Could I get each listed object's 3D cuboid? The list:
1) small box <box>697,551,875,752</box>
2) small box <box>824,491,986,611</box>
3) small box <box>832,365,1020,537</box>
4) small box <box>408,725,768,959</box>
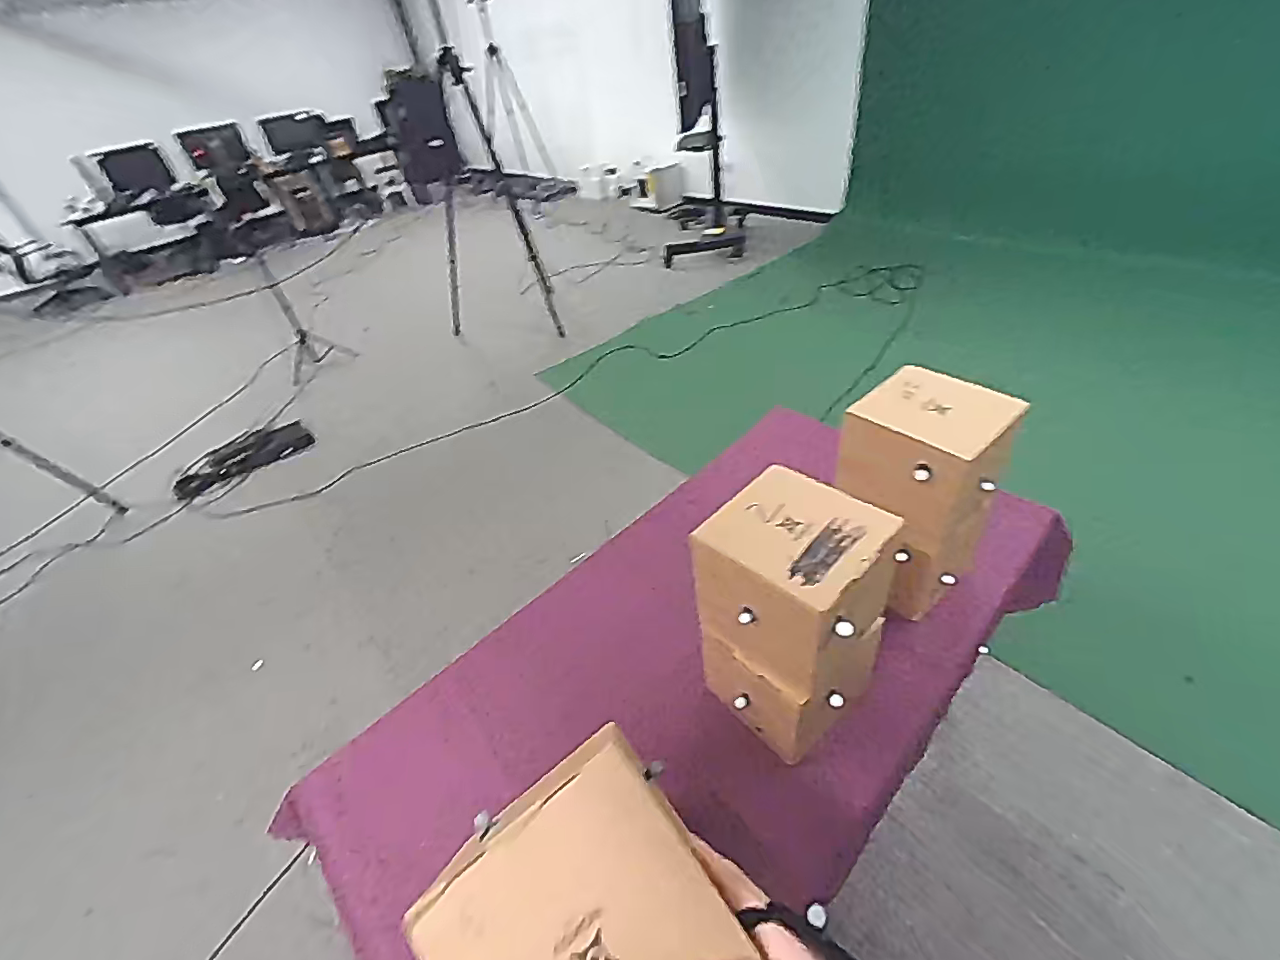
[{"bbox_3d":[0.204,0.243,0.768,0.179,0.176,0.168,-33,45,-24],"label":"small box"},{"bbox_3d":[0.432,0.084,0.910,0.168,0.176,0.179,-32,45,-24],"label":"small box"},{"bbox_3d":[0.411,-0.041,0.805,0.168,0.176,0.179,-33,45,-26],"label":"small box"},{"bbox_3d":[-0.036,0.311,0.412,0.168,0.176,0.179,-36,78,-13],"label":"small box"}]
